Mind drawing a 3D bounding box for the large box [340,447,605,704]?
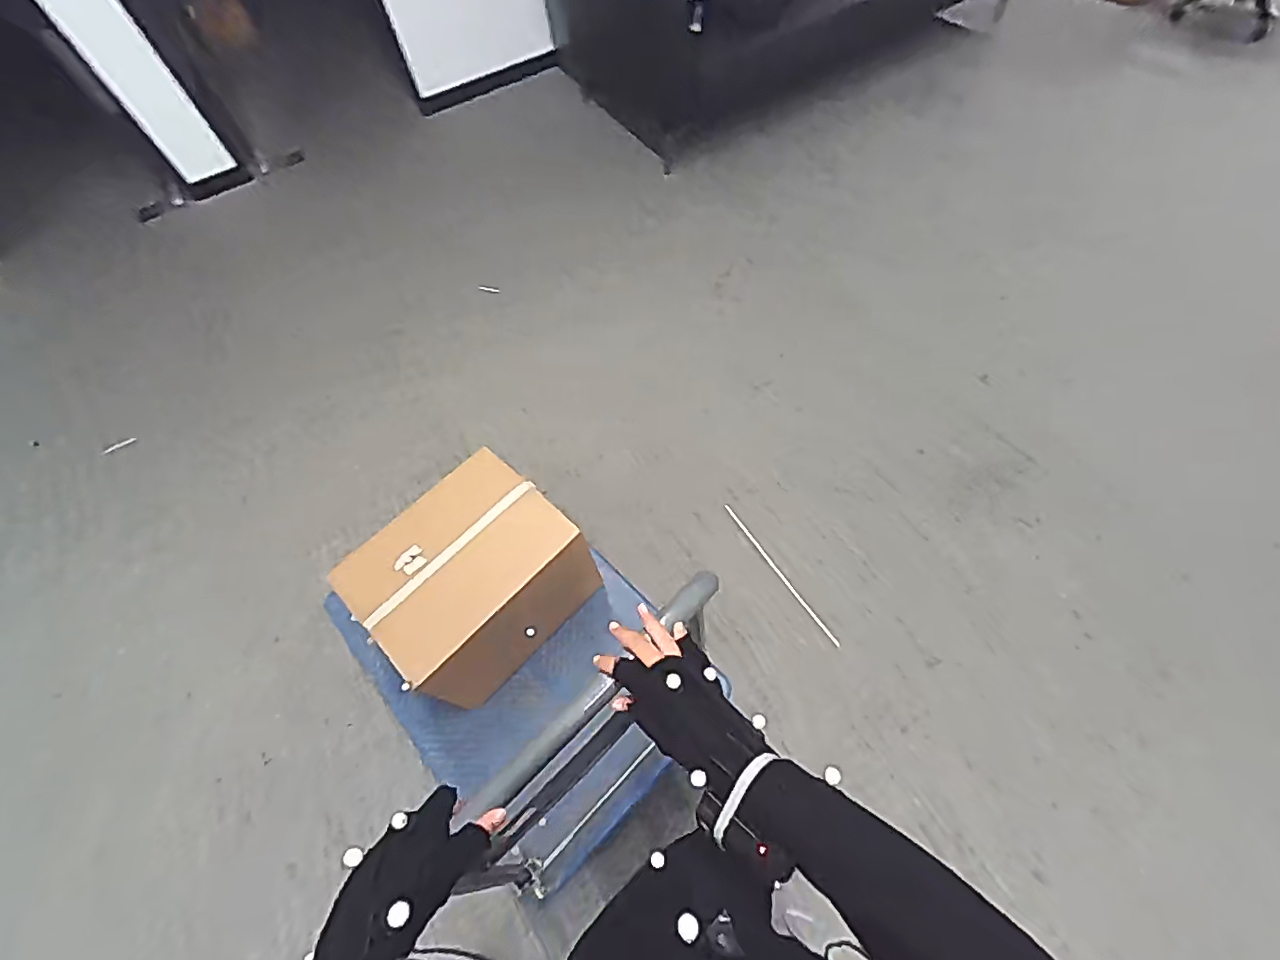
[{"bbox_3d":[-0.335,0.214,1.190,0.320,0.320,0.408,38,71,24],"label":"large box"}]
